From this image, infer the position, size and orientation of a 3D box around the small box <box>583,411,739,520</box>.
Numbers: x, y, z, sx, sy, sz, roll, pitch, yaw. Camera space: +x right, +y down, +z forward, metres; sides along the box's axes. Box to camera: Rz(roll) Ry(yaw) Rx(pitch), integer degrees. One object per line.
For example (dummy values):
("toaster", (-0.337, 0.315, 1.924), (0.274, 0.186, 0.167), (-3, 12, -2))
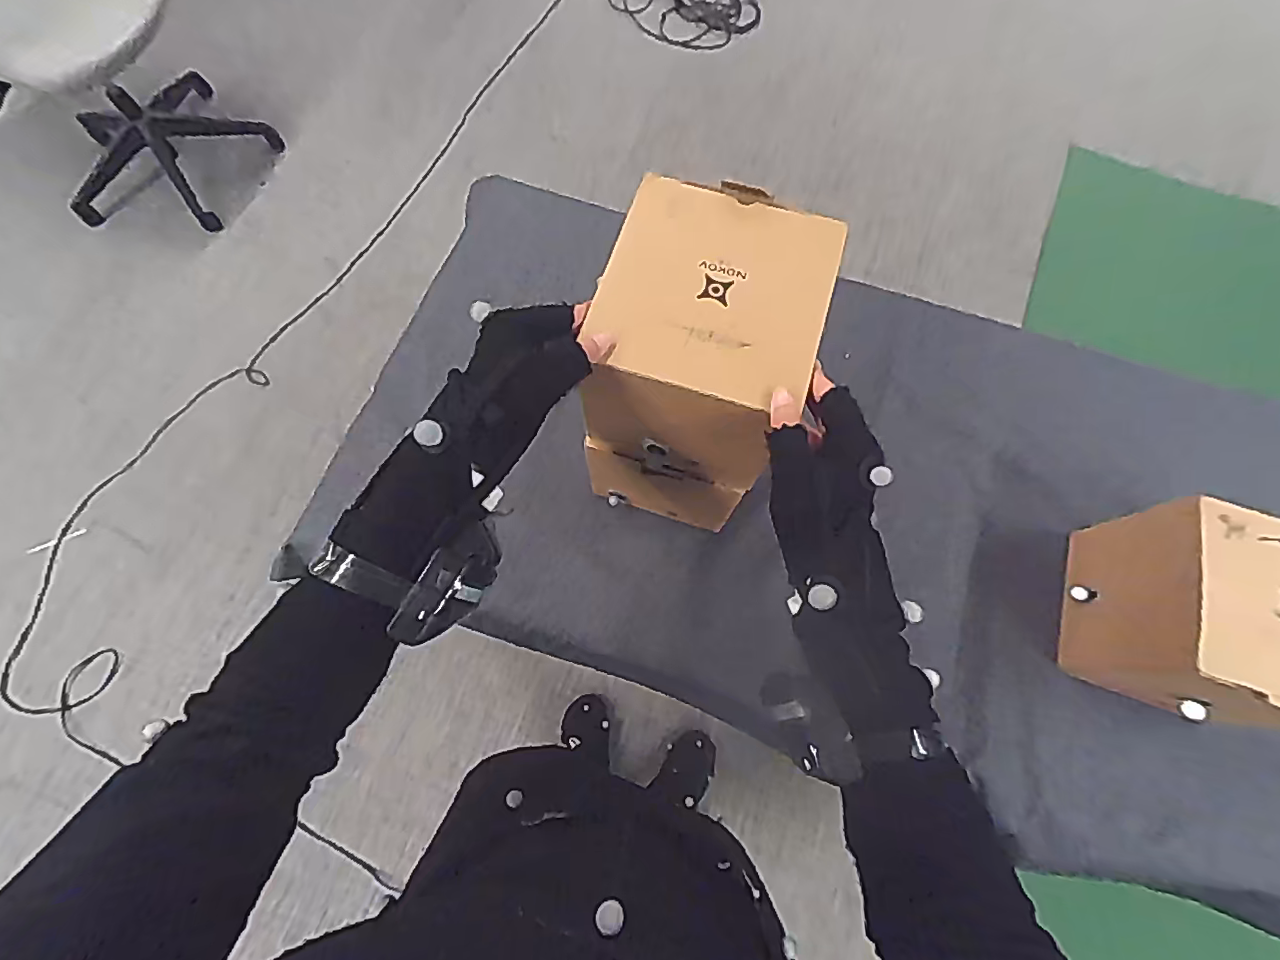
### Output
("small box", (0.044, -0.069, 0.629), (0.168, 0.176, 0.179), (17, 71, 4))

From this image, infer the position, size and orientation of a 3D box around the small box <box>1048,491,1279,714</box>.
("small box", (0.581, 0.137, 0.577), (0.168, 0.176, 0.179), (19, 73, 5))

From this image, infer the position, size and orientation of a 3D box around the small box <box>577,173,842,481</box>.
("small box", (0.054, -0.120, 0.476), (0.168, 0.176, 0.179), (16, 74, 4))
